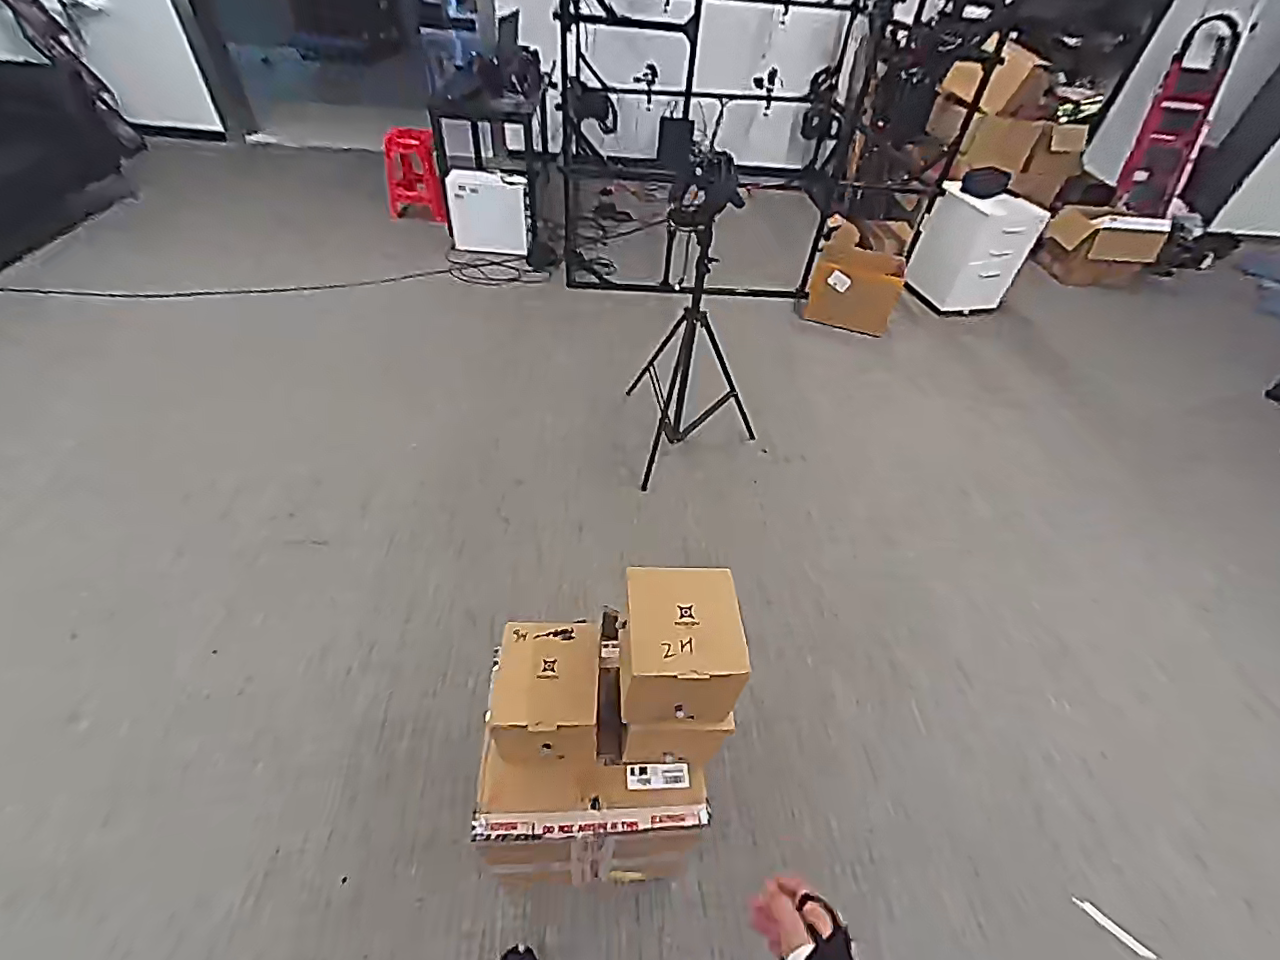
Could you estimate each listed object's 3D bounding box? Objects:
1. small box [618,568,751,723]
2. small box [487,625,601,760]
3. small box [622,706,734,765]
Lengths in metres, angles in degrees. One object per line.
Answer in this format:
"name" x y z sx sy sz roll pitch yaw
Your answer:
"small box" 0.056 0.256 0.835 0.168 0.176 0.179 2 46 -7
"small box" -0.153 0.369 0.931 0.168 0.176 0.179 2 47 -3
"small box" 0.056 0.379 0.947 0.168 0.176 0.179 3 47 -5
